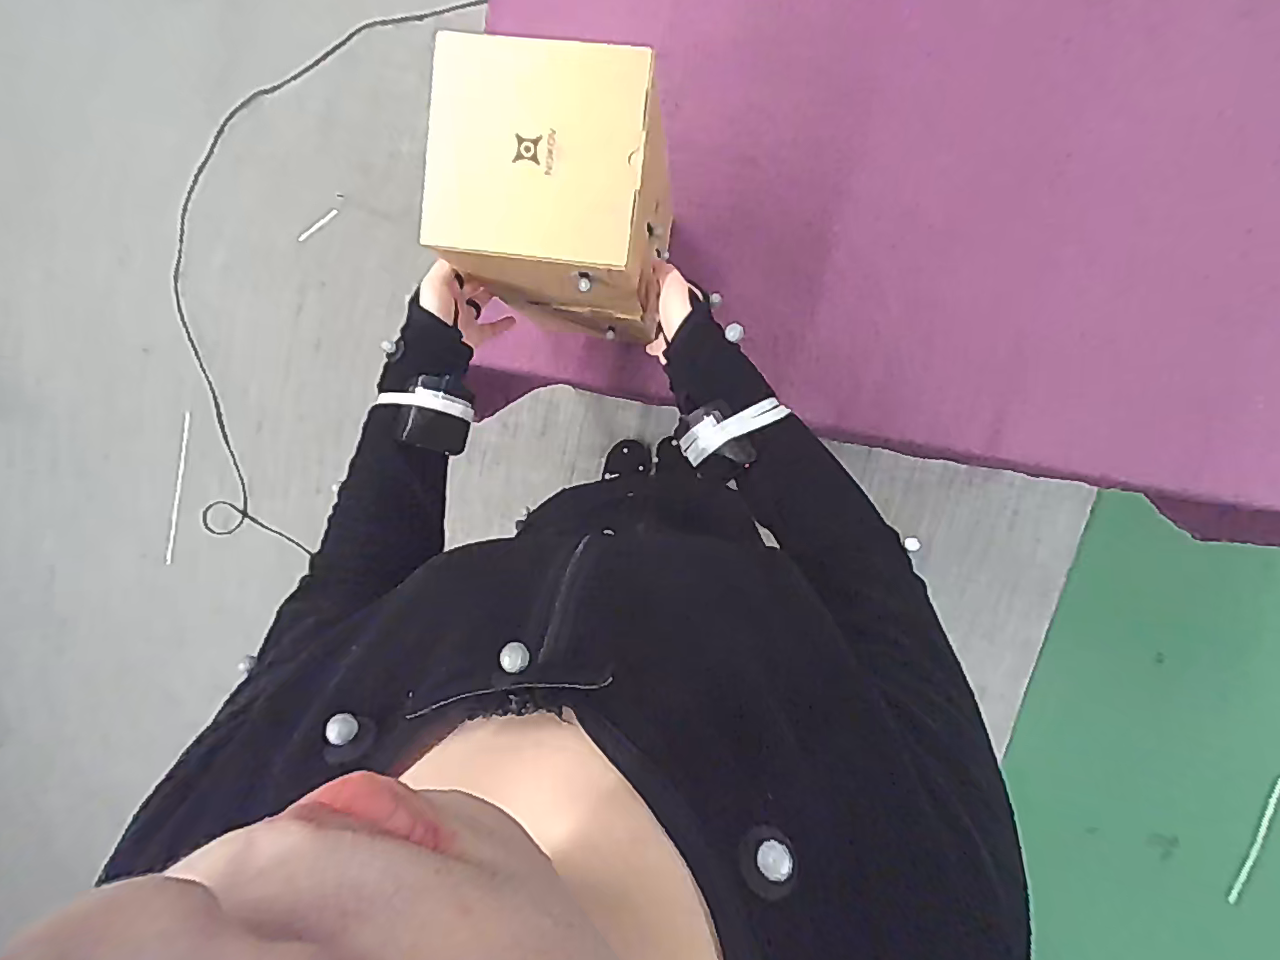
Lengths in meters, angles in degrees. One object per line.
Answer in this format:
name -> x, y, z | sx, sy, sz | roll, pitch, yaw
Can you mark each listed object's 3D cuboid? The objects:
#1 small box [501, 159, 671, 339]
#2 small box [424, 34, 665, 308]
small box -> -0.056, -0.282, 0.670 | 0.168, 0.176, 0.179 | 10, 95, 4
small box -> -0.075, -0.269, 0.510 | 0.179, 0.176, 0.168 | 8, 96, 3
